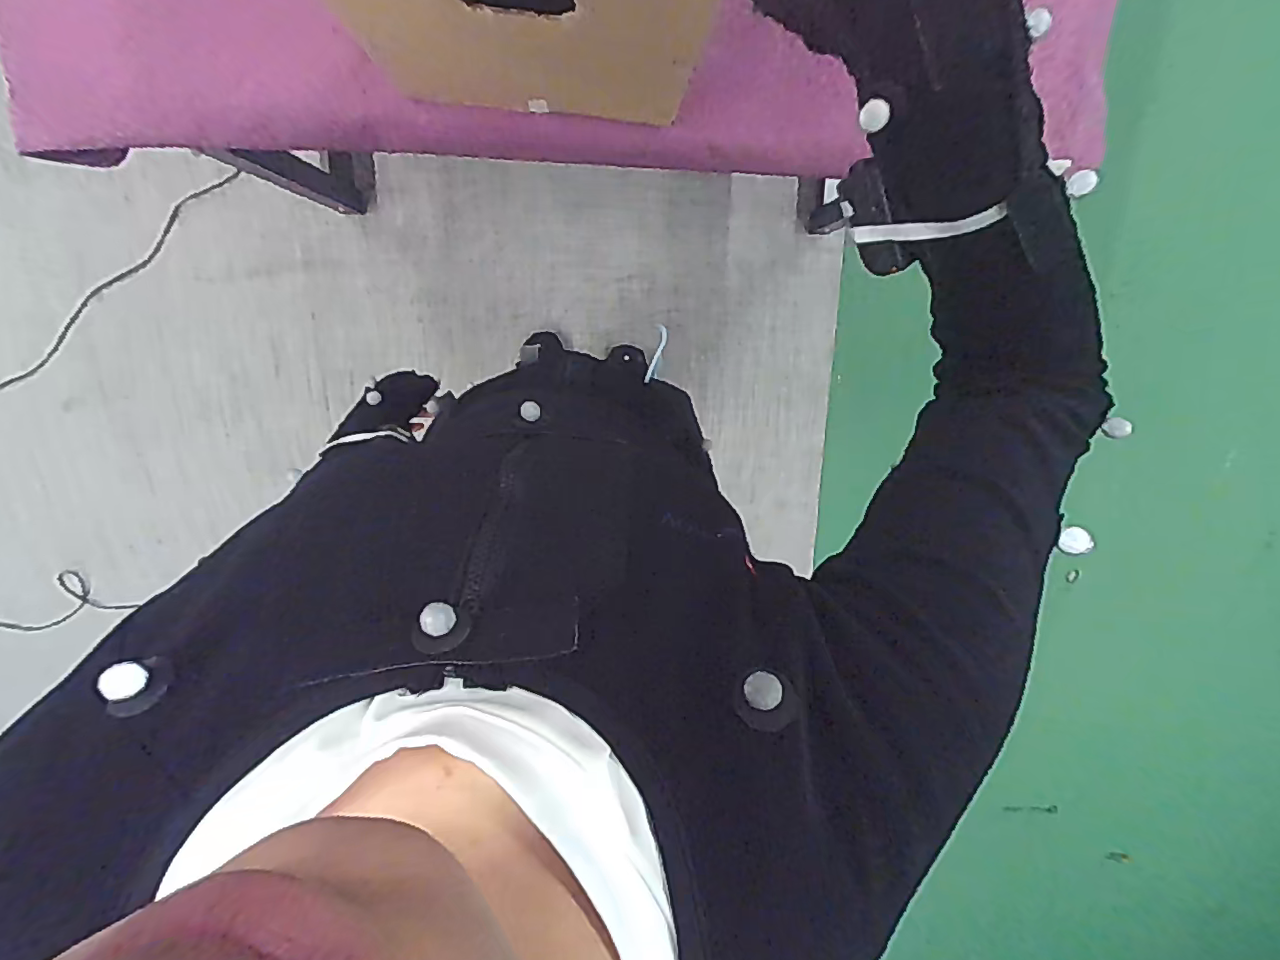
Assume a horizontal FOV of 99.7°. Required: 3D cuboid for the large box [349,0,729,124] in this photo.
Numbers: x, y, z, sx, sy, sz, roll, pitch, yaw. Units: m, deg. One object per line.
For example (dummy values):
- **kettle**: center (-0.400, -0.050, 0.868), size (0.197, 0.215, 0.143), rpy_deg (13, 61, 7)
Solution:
- **large box**: center (-0.082, -0.584, 0.439), size (0.320, 0.320, 0.408), rpy_deg (3, 106, -5)
